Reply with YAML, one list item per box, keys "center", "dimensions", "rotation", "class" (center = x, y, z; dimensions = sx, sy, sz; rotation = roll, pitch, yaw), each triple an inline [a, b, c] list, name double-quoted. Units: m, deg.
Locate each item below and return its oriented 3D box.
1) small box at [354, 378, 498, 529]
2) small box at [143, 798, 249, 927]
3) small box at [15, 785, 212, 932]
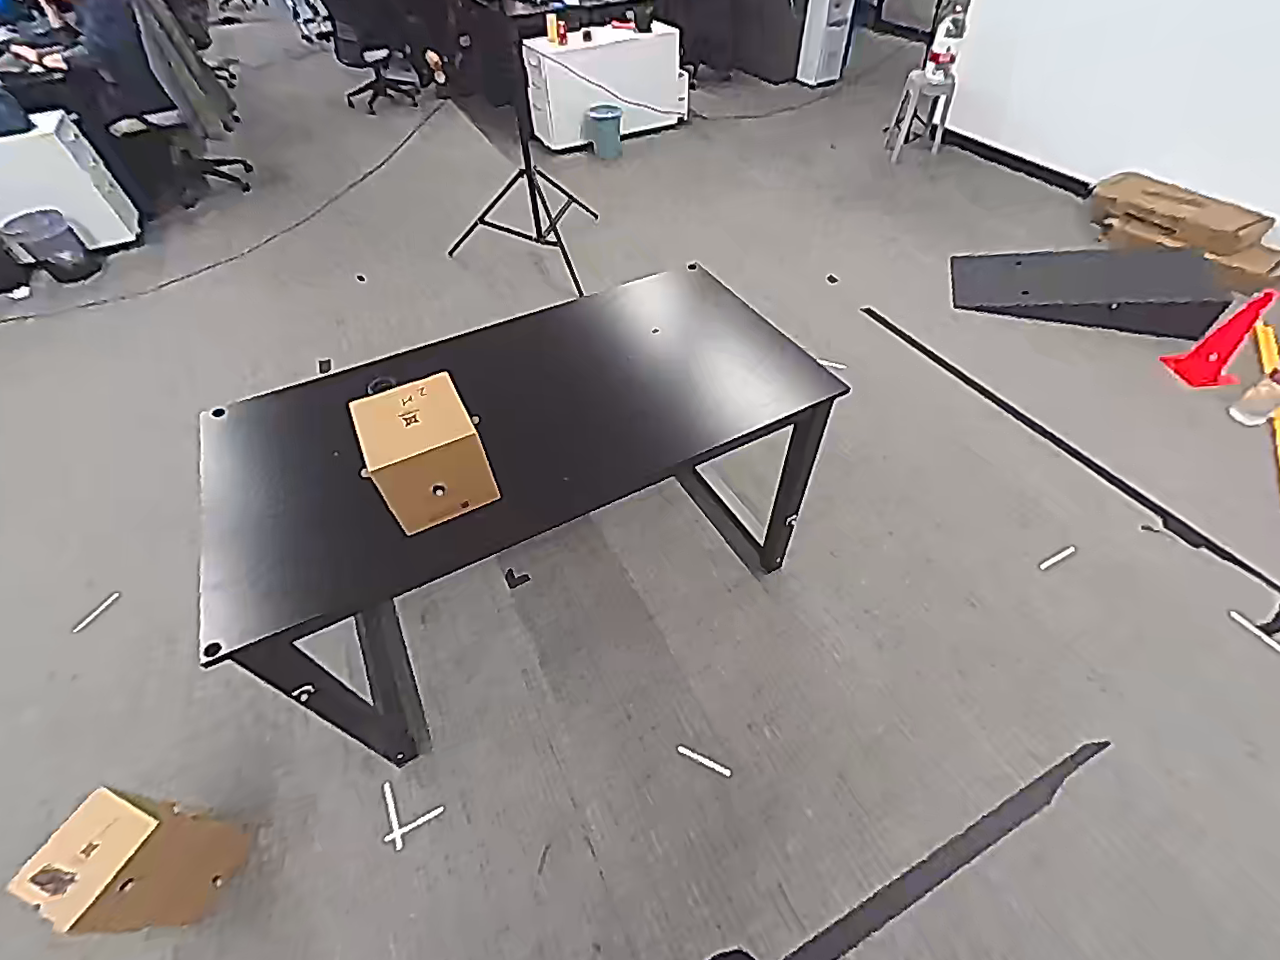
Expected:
- center: [-0.361, -0.038, 0.929]
  dimensions: [0.168, 0.176, 0.179]
  rotation: [-23, 52, -17]
  class: "small box"
- center: [-1.001, 0.830, 1.173]
  dimensions: [0.168, 0.176, 0.179]
  rotation: [16, 52, 15]
  class: "small box"
- center: [-0.994, 0.729, 1.041]
  dimensions: [0.168, 0.176, 0.179]
  rotation: [17, 52, 15]
  class: "small box"
